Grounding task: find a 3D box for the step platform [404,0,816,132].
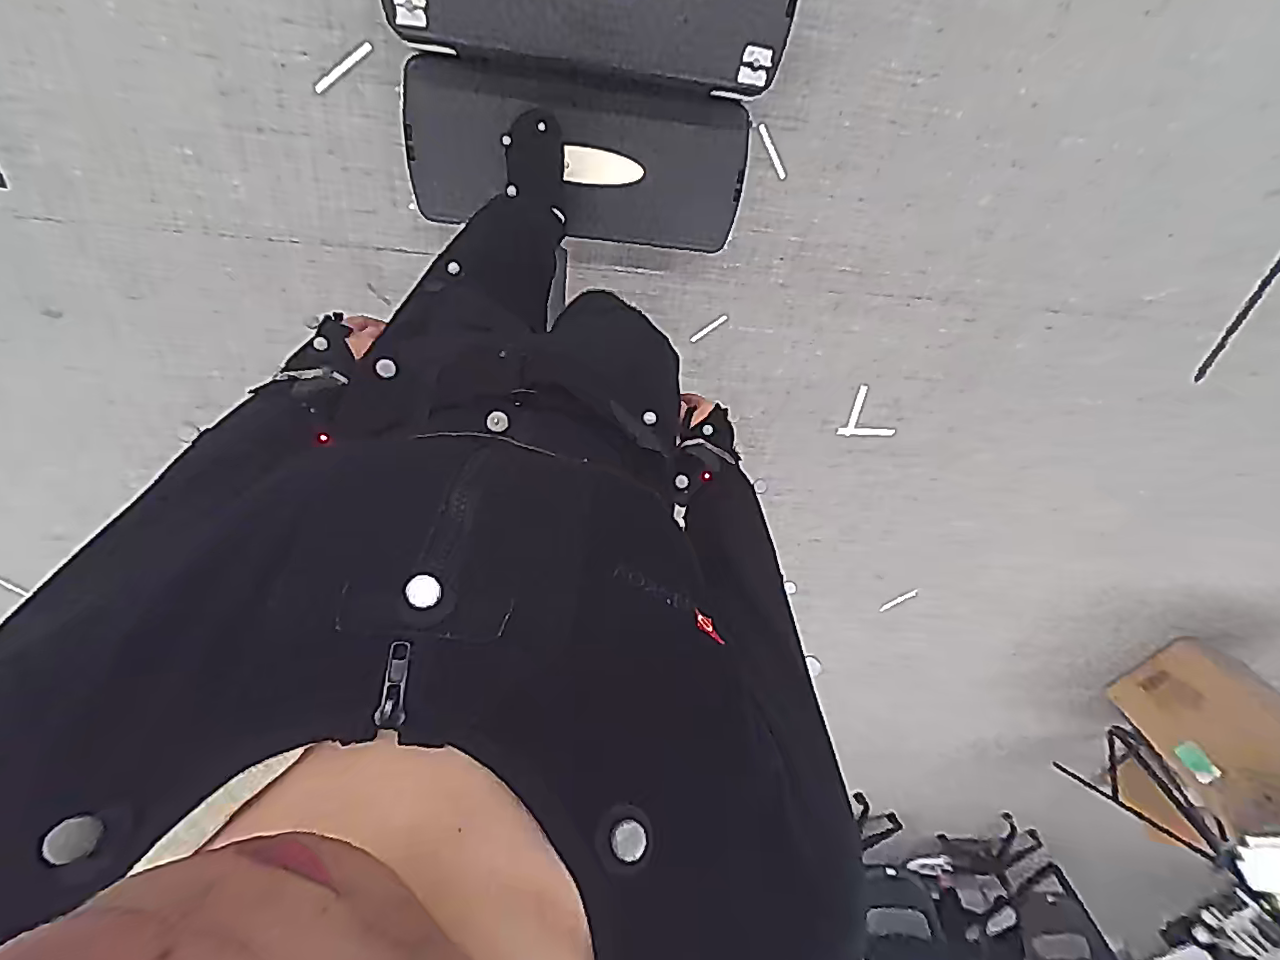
[{"bbox_3d":[-0.045,-0.831,0.925,0.684,0.204,0.286,6,122,-11],"label":"step platform"}]
